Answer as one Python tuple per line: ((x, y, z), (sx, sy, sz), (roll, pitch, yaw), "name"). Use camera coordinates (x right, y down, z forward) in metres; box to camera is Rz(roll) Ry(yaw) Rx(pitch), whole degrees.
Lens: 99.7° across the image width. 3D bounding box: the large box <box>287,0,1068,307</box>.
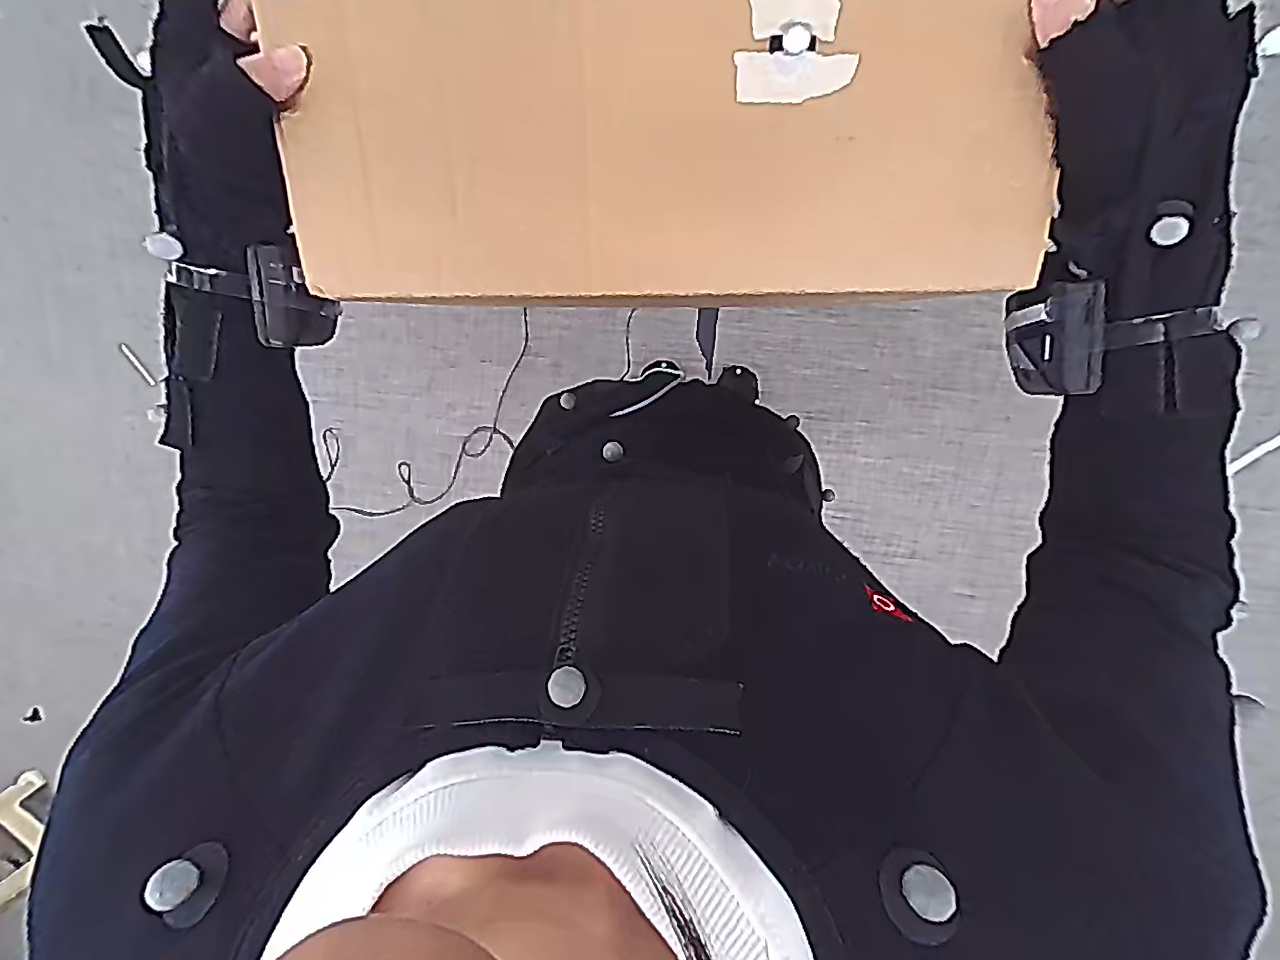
((0.019, -0.303, 0.413), (0.408, 0.320, 0.320), (0, 107, 3), "large box")
